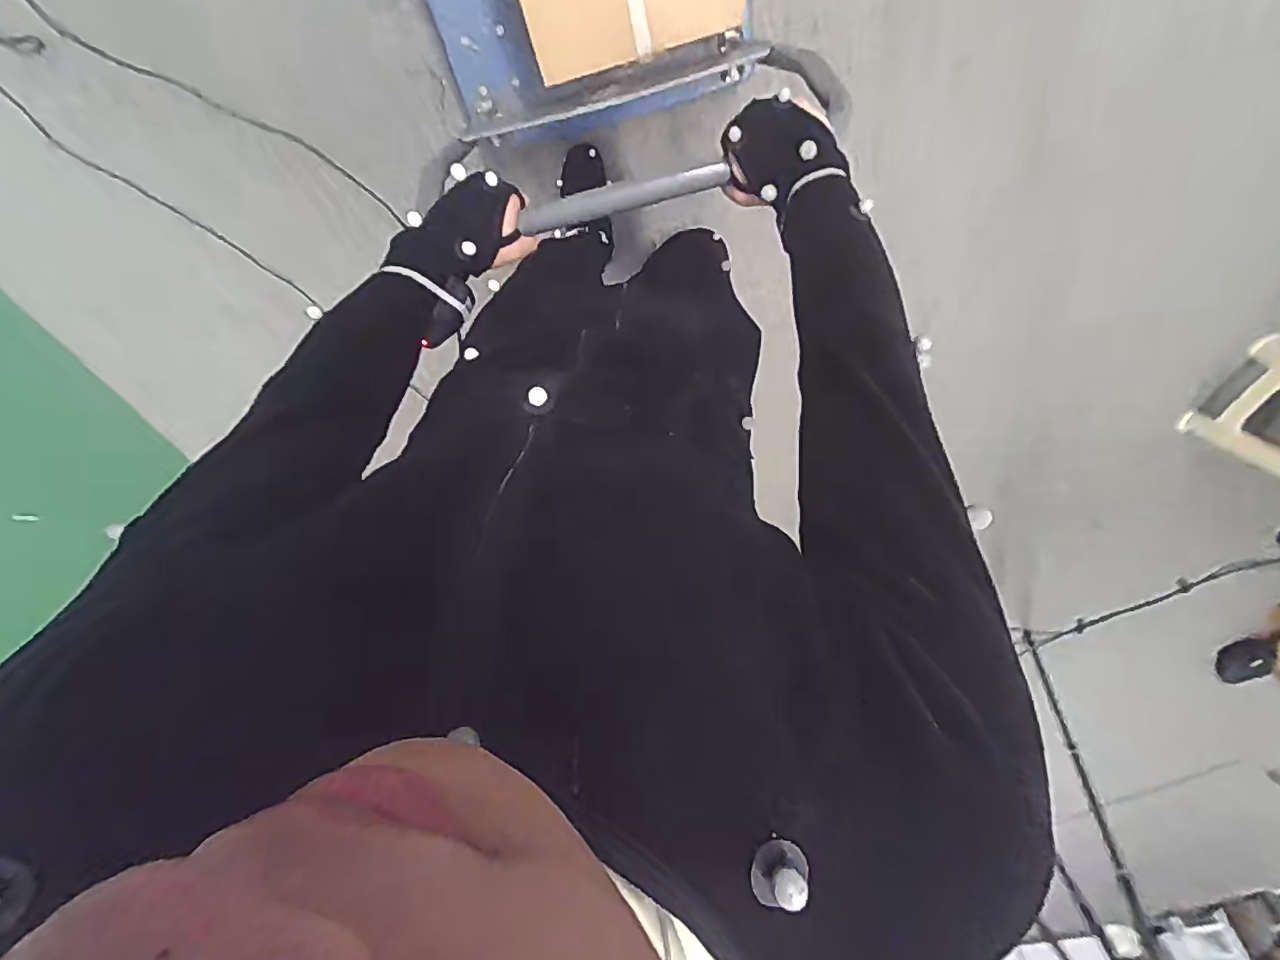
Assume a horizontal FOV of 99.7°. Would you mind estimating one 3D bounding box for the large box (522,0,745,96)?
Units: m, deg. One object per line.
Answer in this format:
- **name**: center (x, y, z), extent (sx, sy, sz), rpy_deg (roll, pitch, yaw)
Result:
- **large box**: center (-0.043, -0.874, 0.828), extent (0.320, 0.320, 0.408), rpy_deg (-13, 127, 6)
